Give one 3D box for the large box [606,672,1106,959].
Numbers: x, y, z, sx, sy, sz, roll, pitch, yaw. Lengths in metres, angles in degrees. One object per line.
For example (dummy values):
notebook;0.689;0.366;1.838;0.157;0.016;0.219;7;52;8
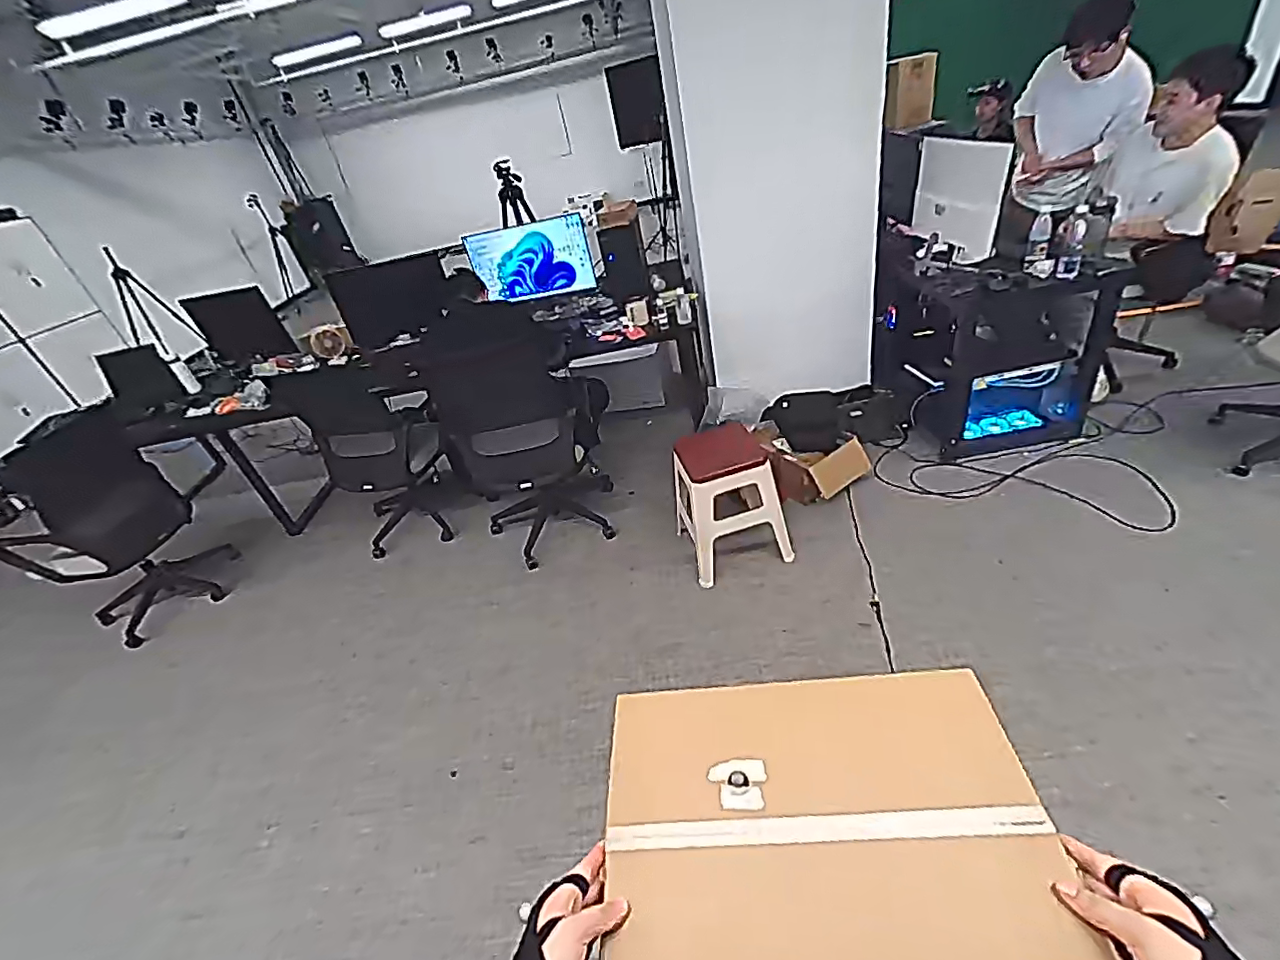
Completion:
large box;0.197;0.456;0.605;0.408;0.320;0.320;-9;36;8
